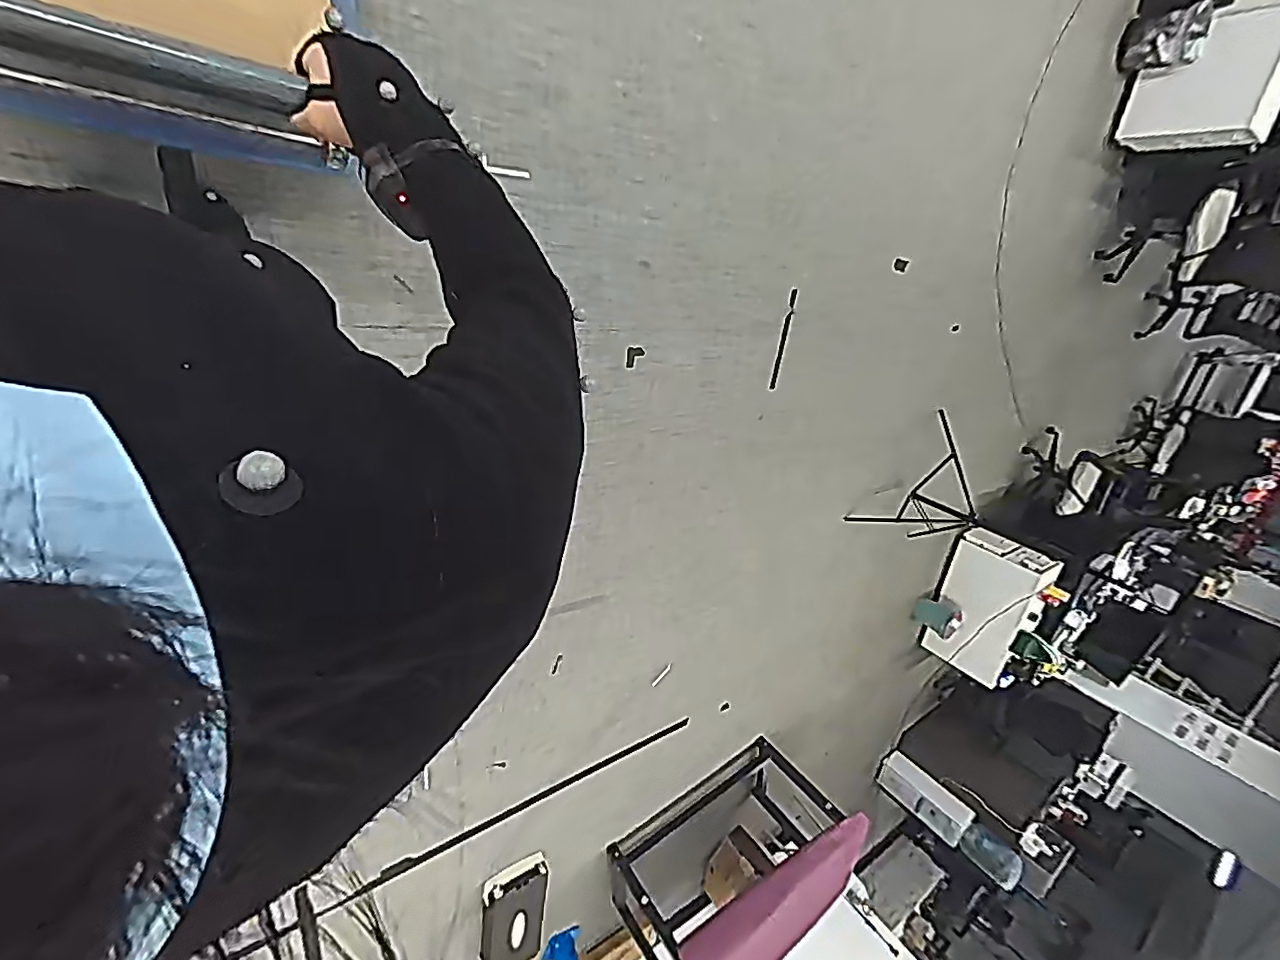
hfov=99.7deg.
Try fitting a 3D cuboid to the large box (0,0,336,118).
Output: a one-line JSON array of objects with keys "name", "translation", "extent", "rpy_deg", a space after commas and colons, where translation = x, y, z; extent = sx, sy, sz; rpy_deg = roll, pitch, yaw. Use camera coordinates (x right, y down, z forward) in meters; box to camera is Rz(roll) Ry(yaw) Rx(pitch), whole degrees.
[{"name": "large box", "translation": [-0.652, -0.709, 0.690], "extent": [0.408, 0.320, 0.320], "rpy_deg": [-8, 117, -37]}]
